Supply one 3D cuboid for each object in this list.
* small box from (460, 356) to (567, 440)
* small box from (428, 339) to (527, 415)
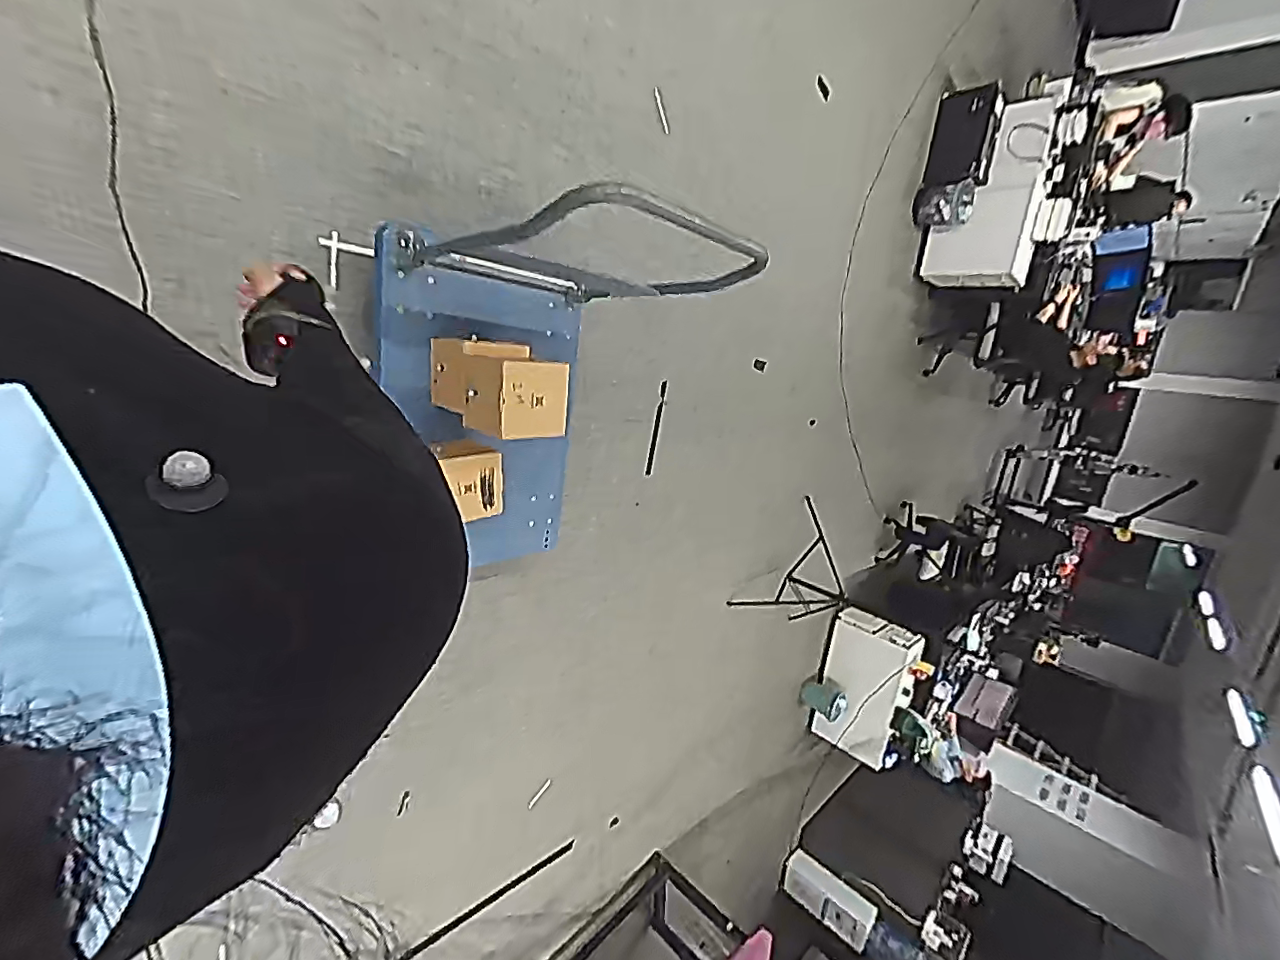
[{"bbox_3d":[-0.291,-0.191,1.241,0.179,0.176,0.168,-9,110,-45],"label":"small box"},{"bbox_3d":[-0.404,-0.256,1.343,0.179,0.176,0.168,-9,111,-45],"label":"small box"}]
